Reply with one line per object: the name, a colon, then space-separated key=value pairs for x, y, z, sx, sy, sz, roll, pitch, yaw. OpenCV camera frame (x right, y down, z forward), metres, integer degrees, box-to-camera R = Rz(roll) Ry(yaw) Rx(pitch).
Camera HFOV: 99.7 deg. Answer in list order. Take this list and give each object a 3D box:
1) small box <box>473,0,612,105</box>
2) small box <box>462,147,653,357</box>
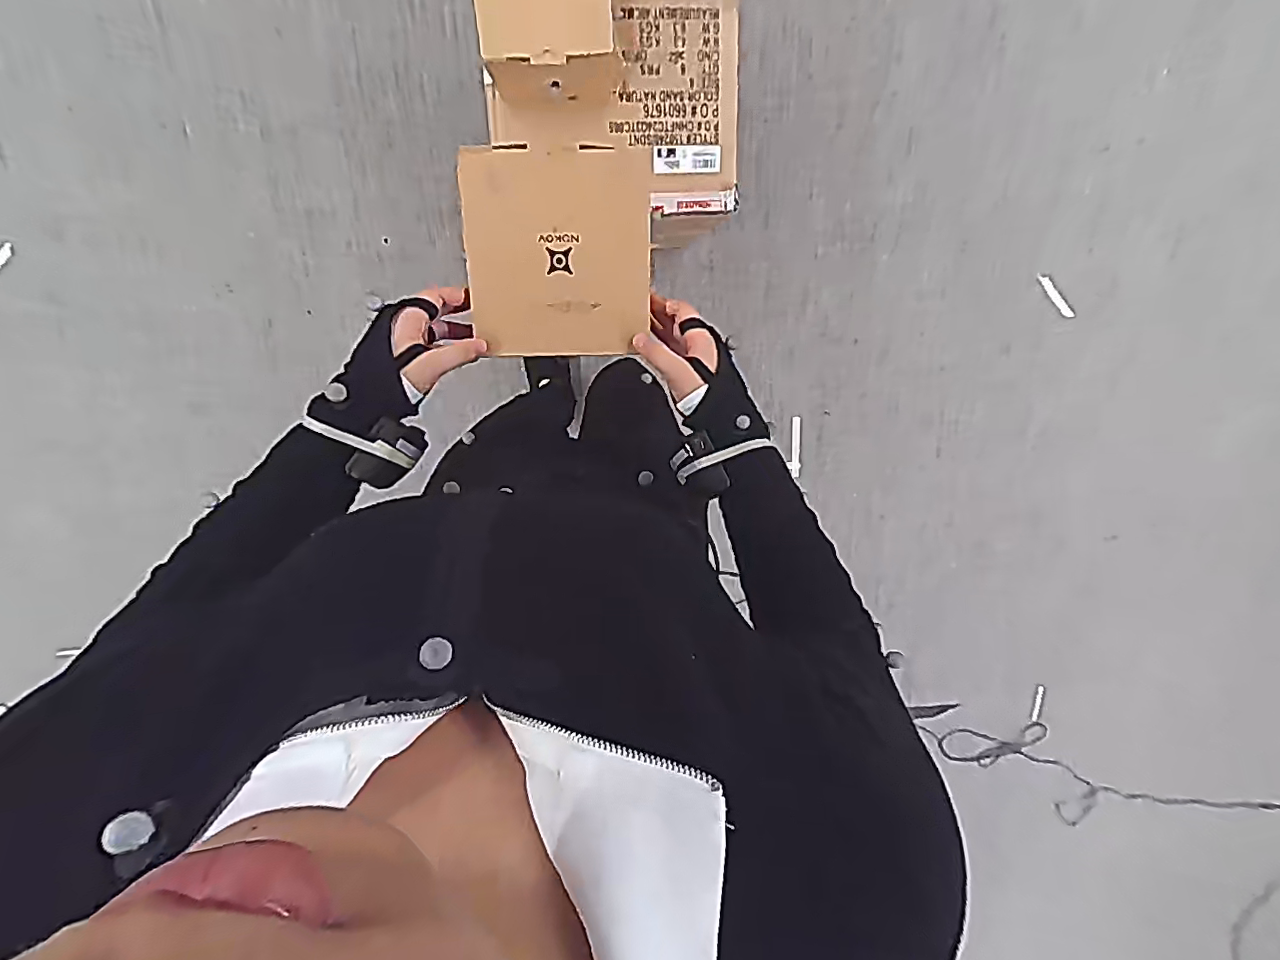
small box: x=-0.123 y=-0.618 z=0.716 sx=0.168 sy=0.176 sz=0.179 roll=-3 pitch=110 yaw=-3
small box: x=-0.075 y=-0.222 z=0.560 sx=0.168 sy=0.176 sz=0.179 roll=-1 pitch=108 yaw=-2
